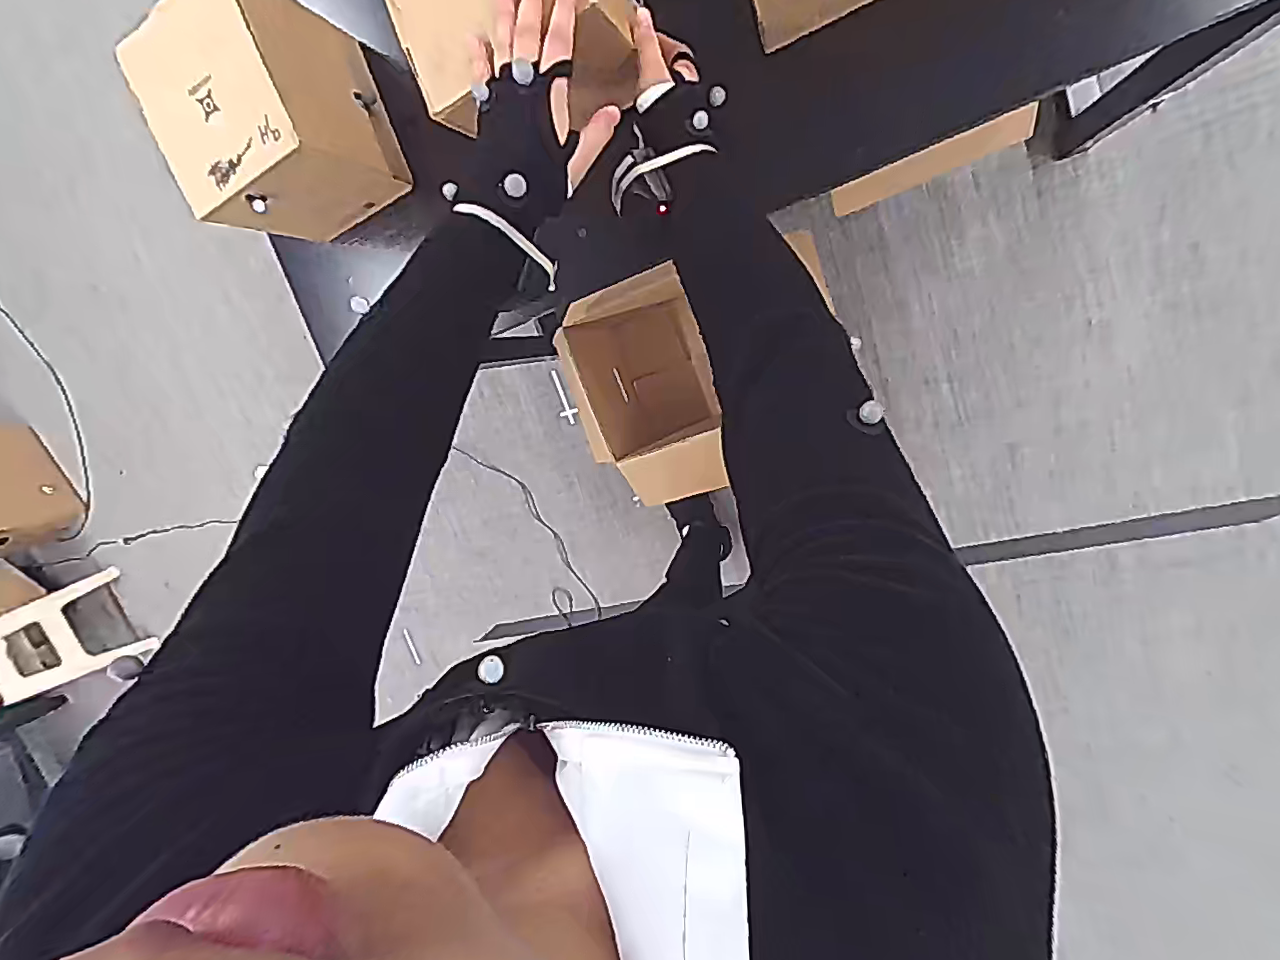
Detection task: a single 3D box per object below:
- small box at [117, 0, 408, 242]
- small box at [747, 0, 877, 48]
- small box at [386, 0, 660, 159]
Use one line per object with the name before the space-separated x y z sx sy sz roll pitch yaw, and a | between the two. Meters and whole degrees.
small box | -0.401 -0.393 0.601 0.168 0.176 0.179 -17 99 20
small box | 0.149 -0.482 0.405 0.179 0.176 0.168 -14 100 19
small box | -0.105 -0.429 0.494 0.179 0.176 0.168 -14 101 24
